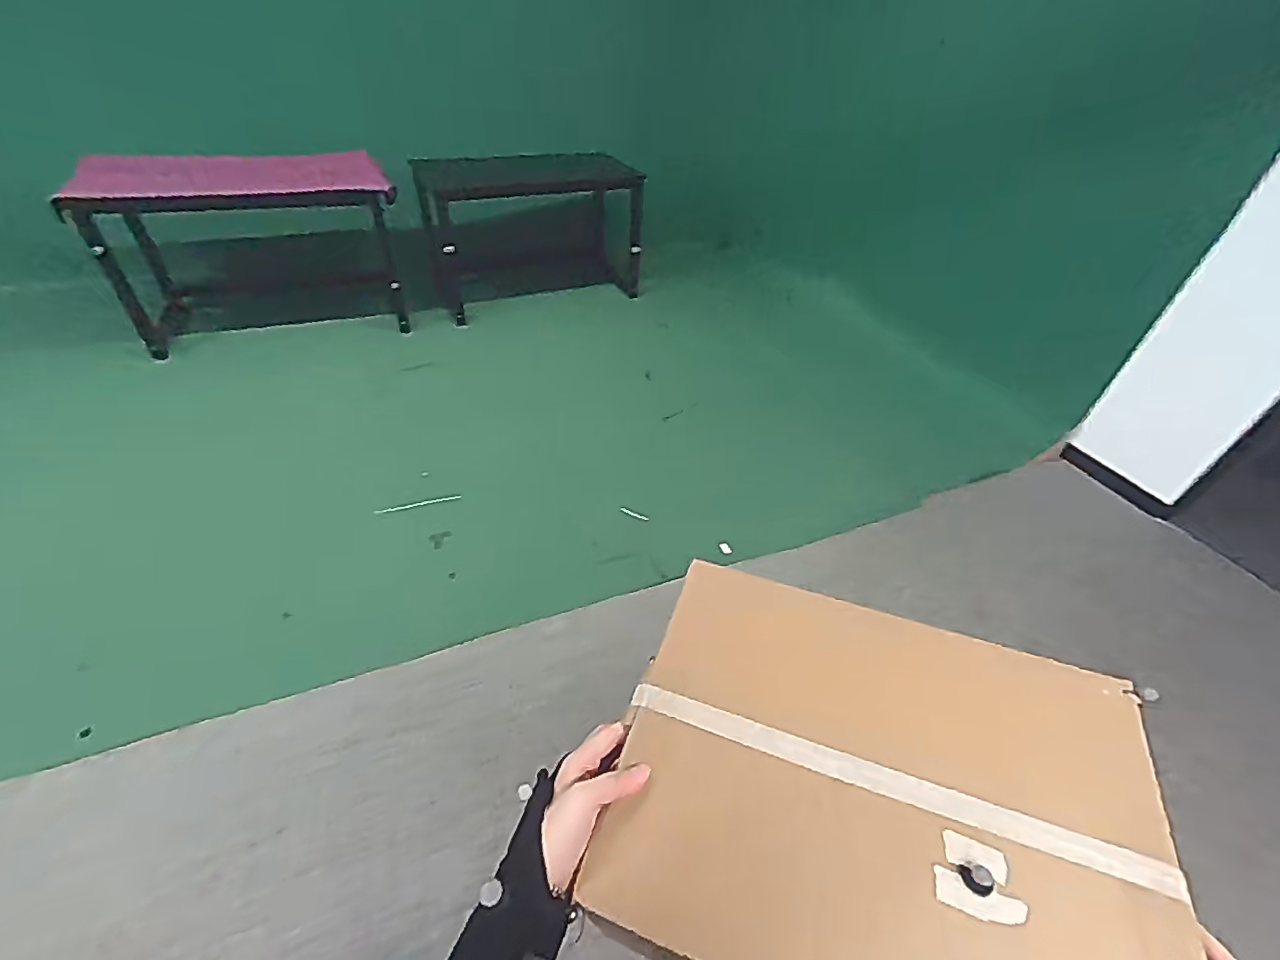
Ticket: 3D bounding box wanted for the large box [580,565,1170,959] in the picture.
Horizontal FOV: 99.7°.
[{"bbox_3d":[0.188,0.342,0.553,0.408,0.320,0.320,14,49,14],"label":"large box"}]
